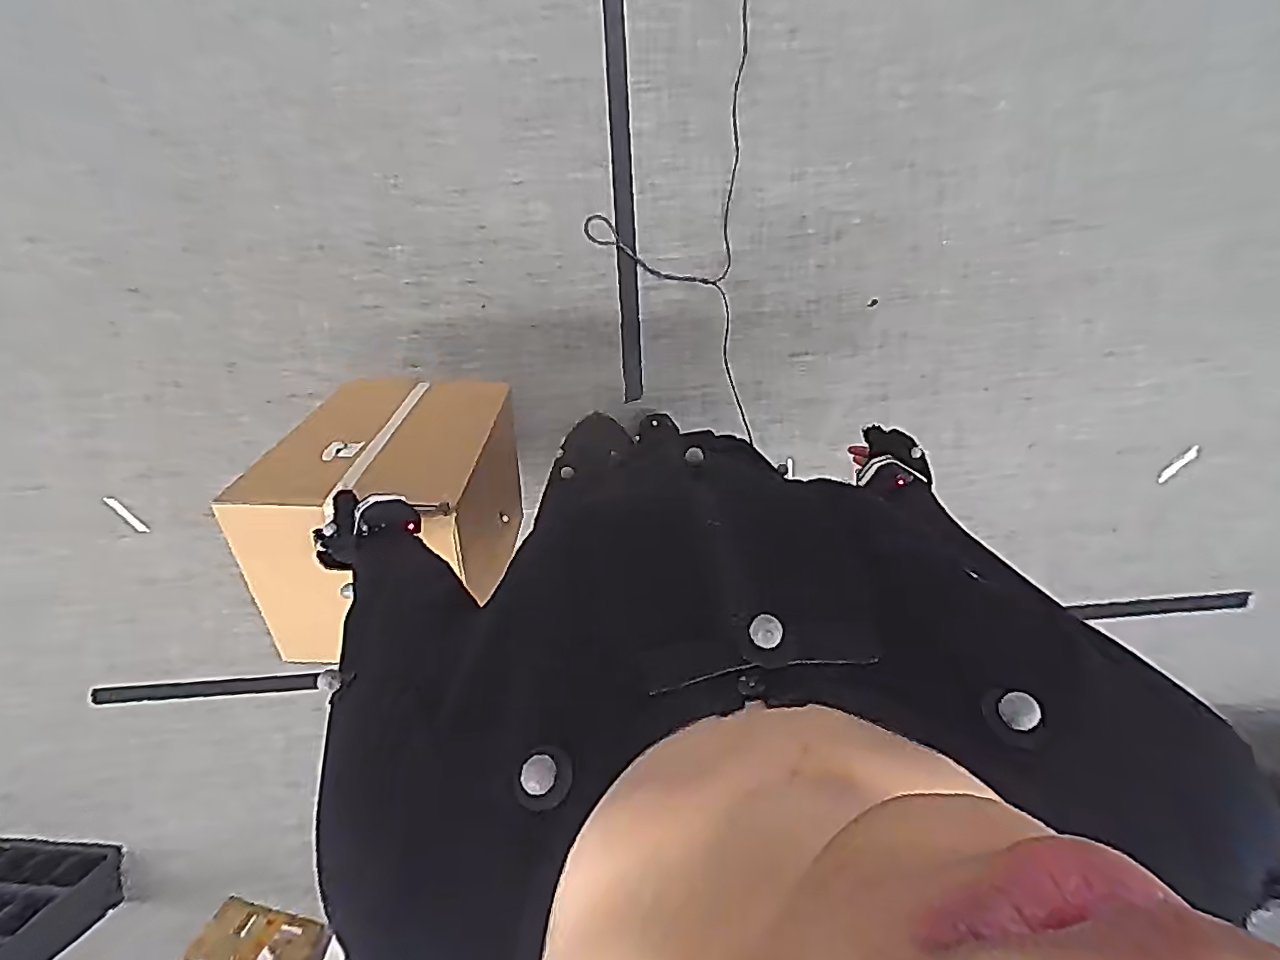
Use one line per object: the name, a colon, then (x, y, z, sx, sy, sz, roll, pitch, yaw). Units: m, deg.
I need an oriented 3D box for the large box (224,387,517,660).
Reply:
large box: (-0.411, 0.059, 0.962, 0.320, 0.408, 0.320, 0, 123, -1)
